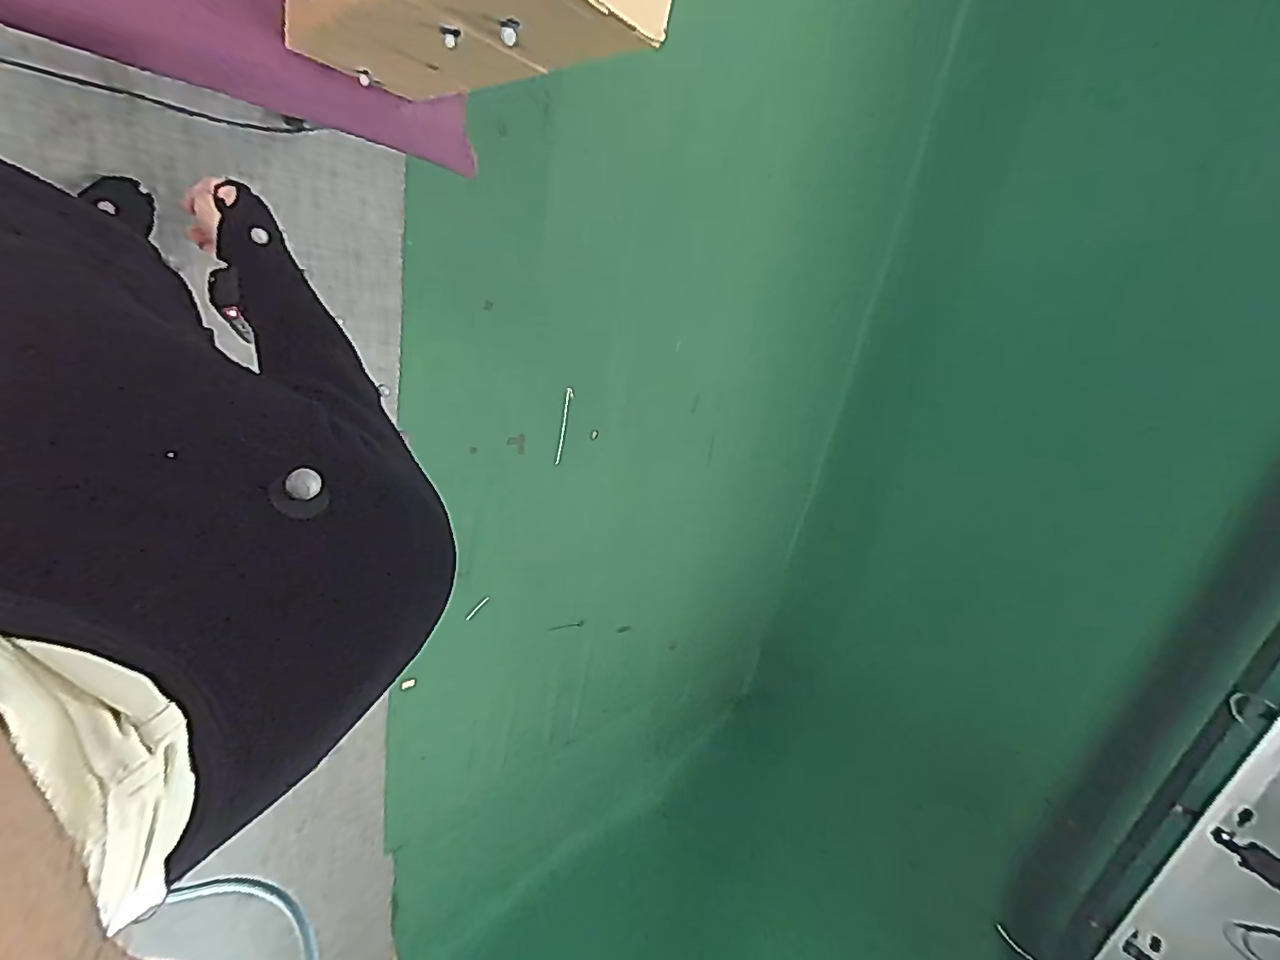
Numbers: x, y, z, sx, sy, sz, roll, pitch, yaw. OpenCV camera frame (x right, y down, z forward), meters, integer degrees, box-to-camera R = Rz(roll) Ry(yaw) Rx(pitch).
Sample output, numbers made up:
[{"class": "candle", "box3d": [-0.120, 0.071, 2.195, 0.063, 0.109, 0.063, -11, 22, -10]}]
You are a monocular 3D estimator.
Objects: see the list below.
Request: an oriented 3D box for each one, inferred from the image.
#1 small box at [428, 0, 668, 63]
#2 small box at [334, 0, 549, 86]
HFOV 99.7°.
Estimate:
[{"class": "small box", "box3d": [-0.079, -0.475, 0.431, 0.168, 0.176, 0.179, -7, 117, -44]}, {"class": "small box", "box3d": [-0.192, -0.532, 0.537, 0.168, 0.176, 0.179, -6, 115, -45]}]
